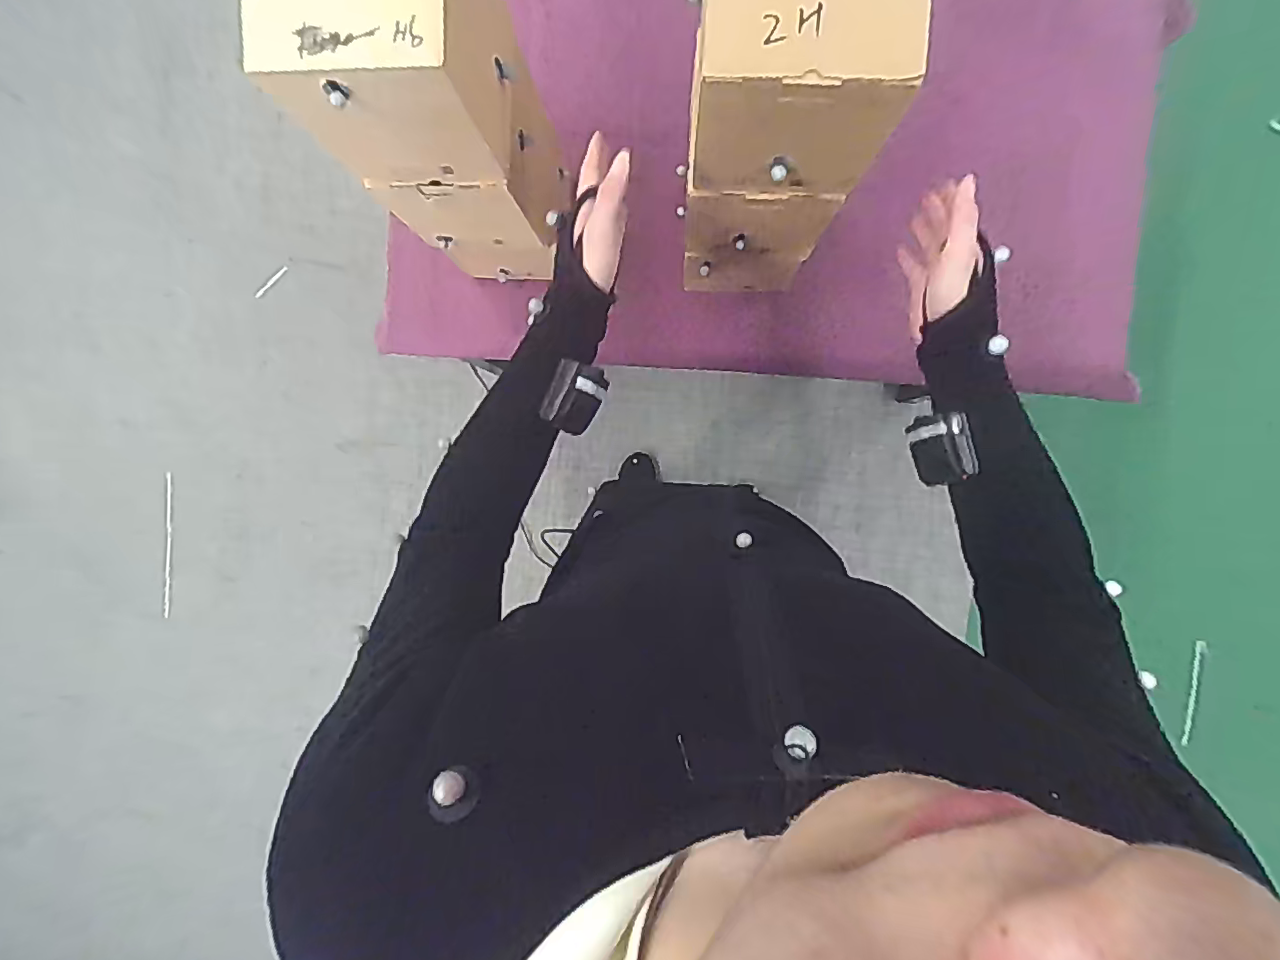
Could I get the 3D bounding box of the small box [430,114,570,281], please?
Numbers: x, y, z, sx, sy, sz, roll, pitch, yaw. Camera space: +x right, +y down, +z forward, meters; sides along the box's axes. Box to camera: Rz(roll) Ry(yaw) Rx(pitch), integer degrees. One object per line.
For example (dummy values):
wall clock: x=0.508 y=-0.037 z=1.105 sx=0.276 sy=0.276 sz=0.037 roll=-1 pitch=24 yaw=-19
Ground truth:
small box: x=-0.205 y=-0.422 z=0.826 sx=0.168 sy=0.176 sz=0.179 roll=3 pitch=93 yaw=4

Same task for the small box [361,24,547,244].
small box: x=-0.215 y=-0.407 z=0.663 sx=0.168 sy=0.176 sz=0.179 roll=3 pitch=91 yaw=4

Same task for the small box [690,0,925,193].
small box: x=0.133 y=-0.386 z=0.477 sx=0.168 sy=0.176 sz=0.179 roll=3 pitch=92 yaw=4

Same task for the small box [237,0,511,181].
small box: x=-0.226 y=-0.408 z=0.499 sx=0.168 sy=0.176 sz=0.179 roll=2 pitch=91 yaw=5

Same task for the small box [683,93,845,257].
small box: x=0.140 y=-0.387 z=0.642 sx=0.168 sy=0.176 sz=0.179 roll=3 pitch=93 yaw=3
